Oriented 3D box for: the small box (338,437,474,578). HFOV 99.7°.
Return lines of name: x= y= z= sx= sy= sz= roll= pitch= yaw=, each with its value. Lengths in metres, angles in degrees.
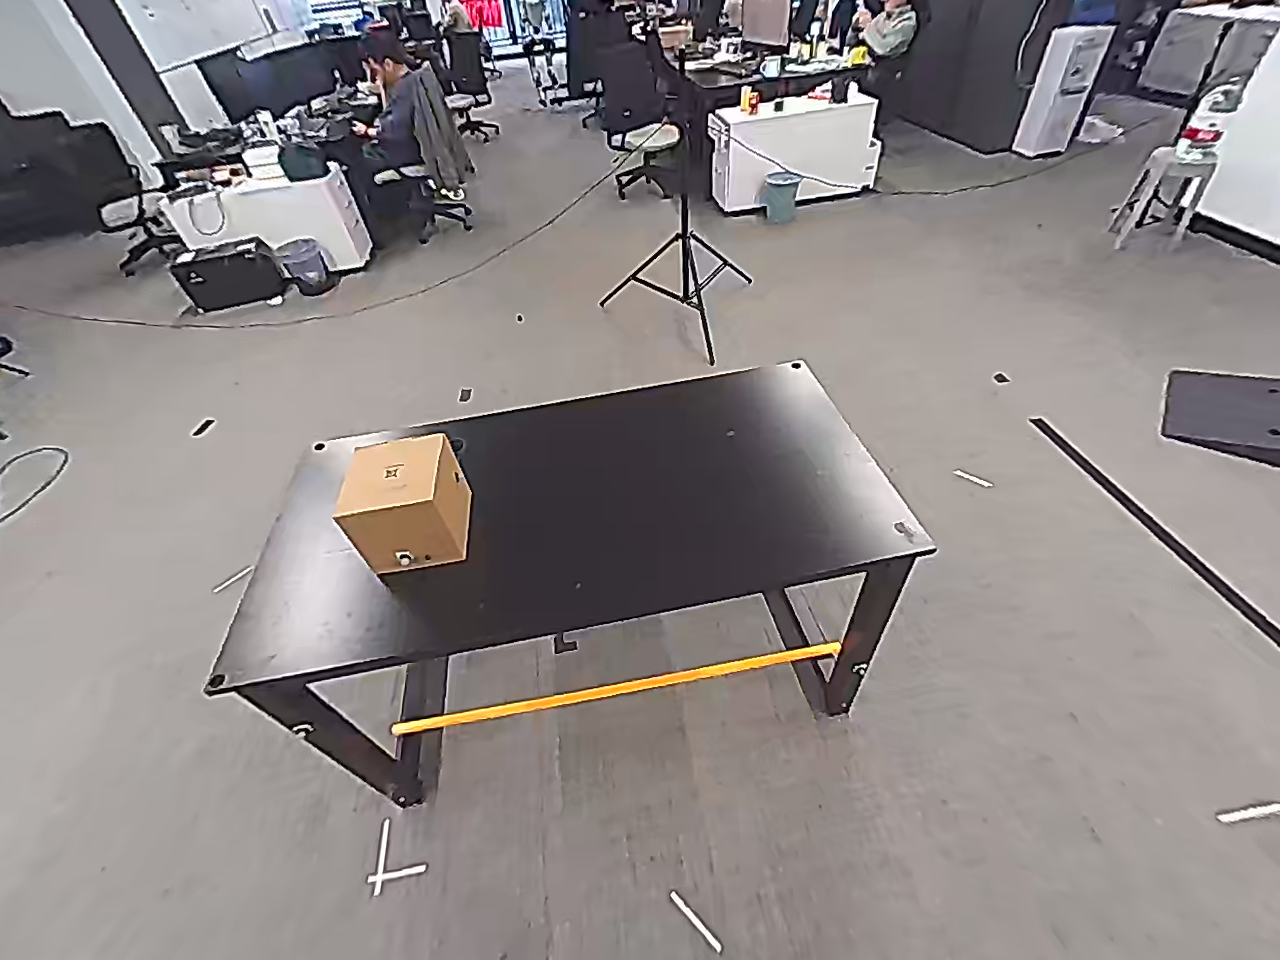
small box: x=-0.412 y=0.050 z=0.986 sx=0.168 sy=0.176 sz=0.179 roll=-11 pitch=46 yaw=-2
